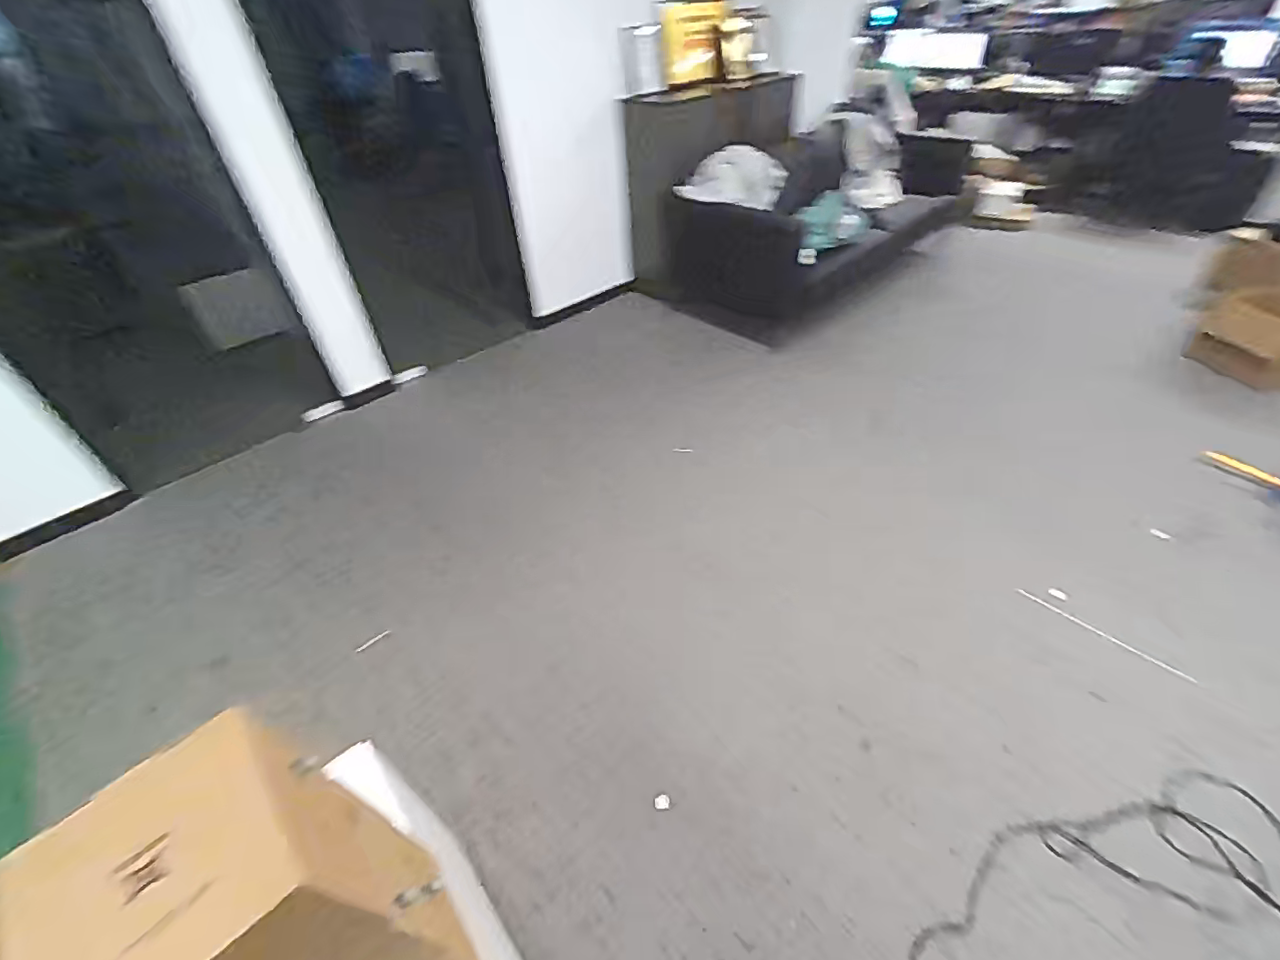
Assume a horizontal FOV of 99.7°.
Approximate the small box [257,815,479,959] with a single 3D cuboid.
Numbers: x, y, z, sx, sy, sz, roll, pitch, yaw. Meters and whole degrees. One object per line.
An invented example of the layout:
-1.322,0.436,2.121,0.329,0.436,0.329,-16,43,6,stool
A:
-0.323,0.567,0.662,0.168,0.176,0.179,-31,49,-26,small box
